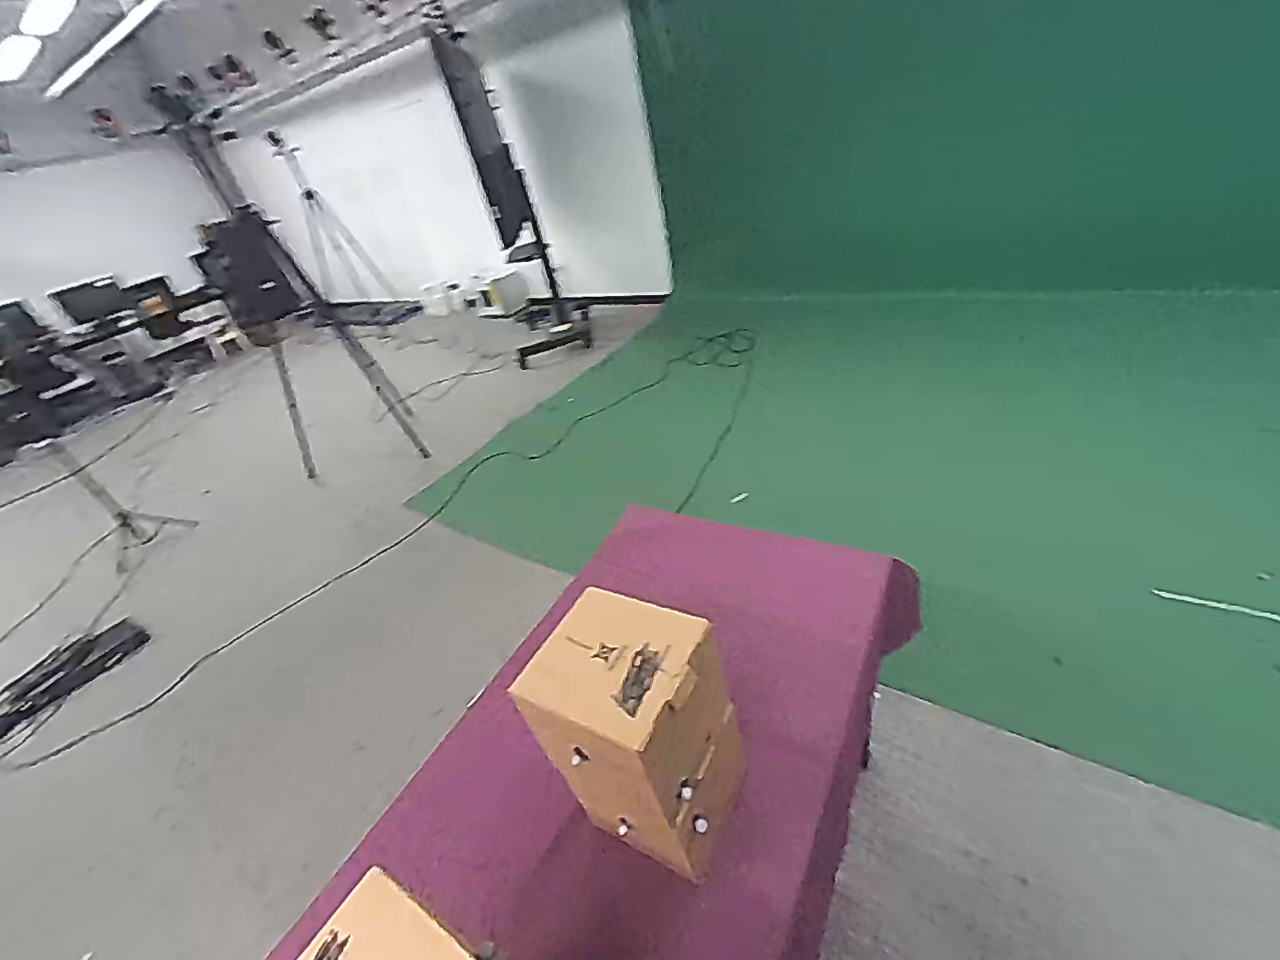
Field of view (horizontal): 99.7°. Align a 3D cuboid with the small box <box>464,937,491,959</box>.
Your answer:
[{"bbox_3d":[-0.143,0.596,0.511,0.179,0.176,0.168,9,42,32],"label":"small box"}]

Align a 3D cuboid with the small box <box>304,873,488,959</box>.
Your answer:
[{"bbox_3d":[-0.183,0.464,0.421,0.179,0.176,0.168,10,41,32],"label":"small box"}]

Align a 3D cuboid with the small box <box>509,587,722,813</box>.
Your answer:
[{"bbox_3d":[-0.016,0.261,0.648,0.179,0.176,0.168,7,40,32],"label":"small box"}]
